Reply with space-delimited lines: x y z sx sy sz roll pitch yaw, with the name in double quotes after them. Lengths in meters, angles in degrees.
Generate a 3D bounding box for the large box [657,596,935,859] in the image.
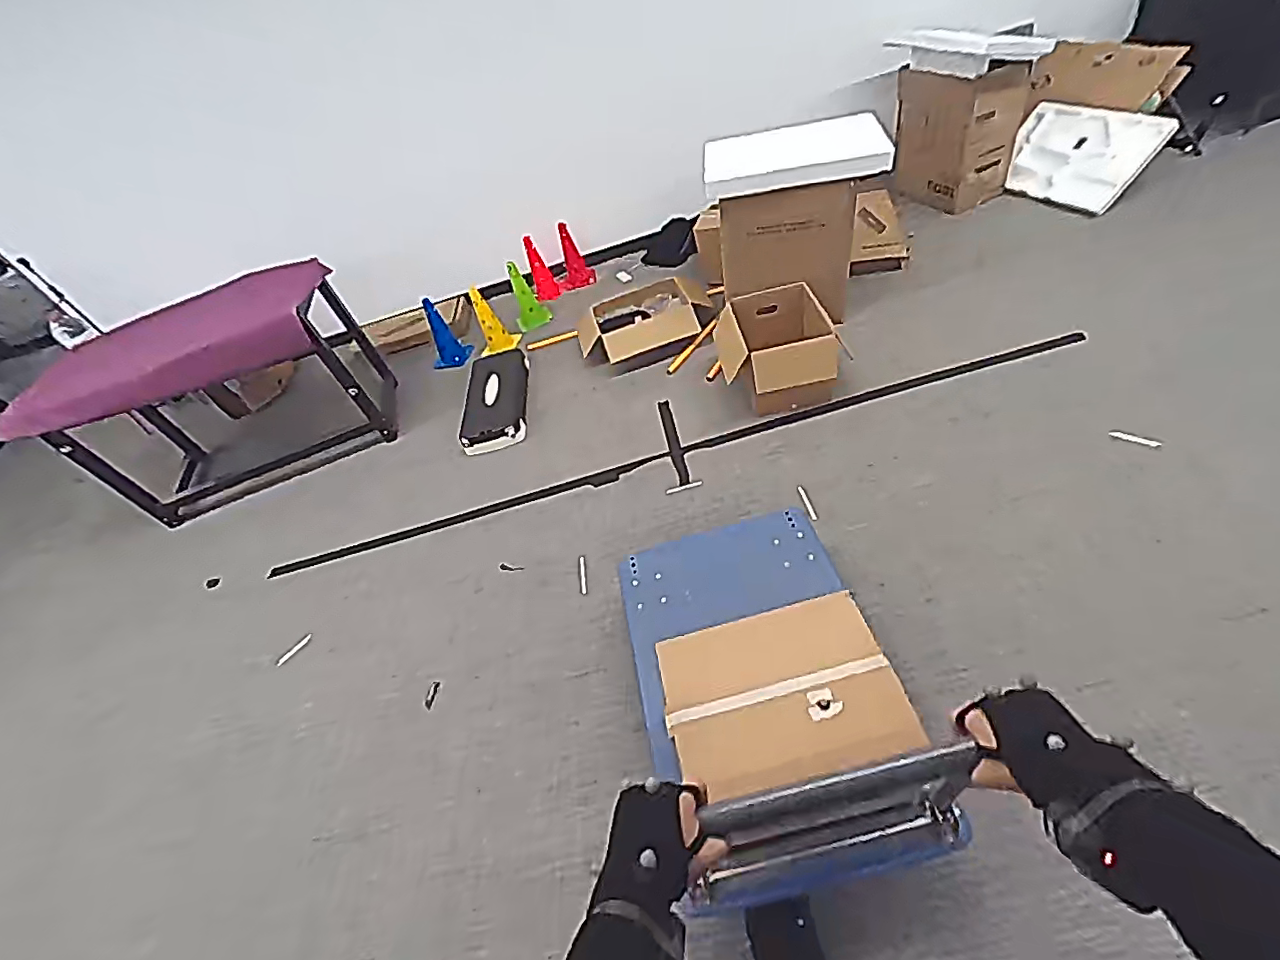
0.281 0.487 1.060 0.408 0.320 0.320 -16 45 2 "large box"
